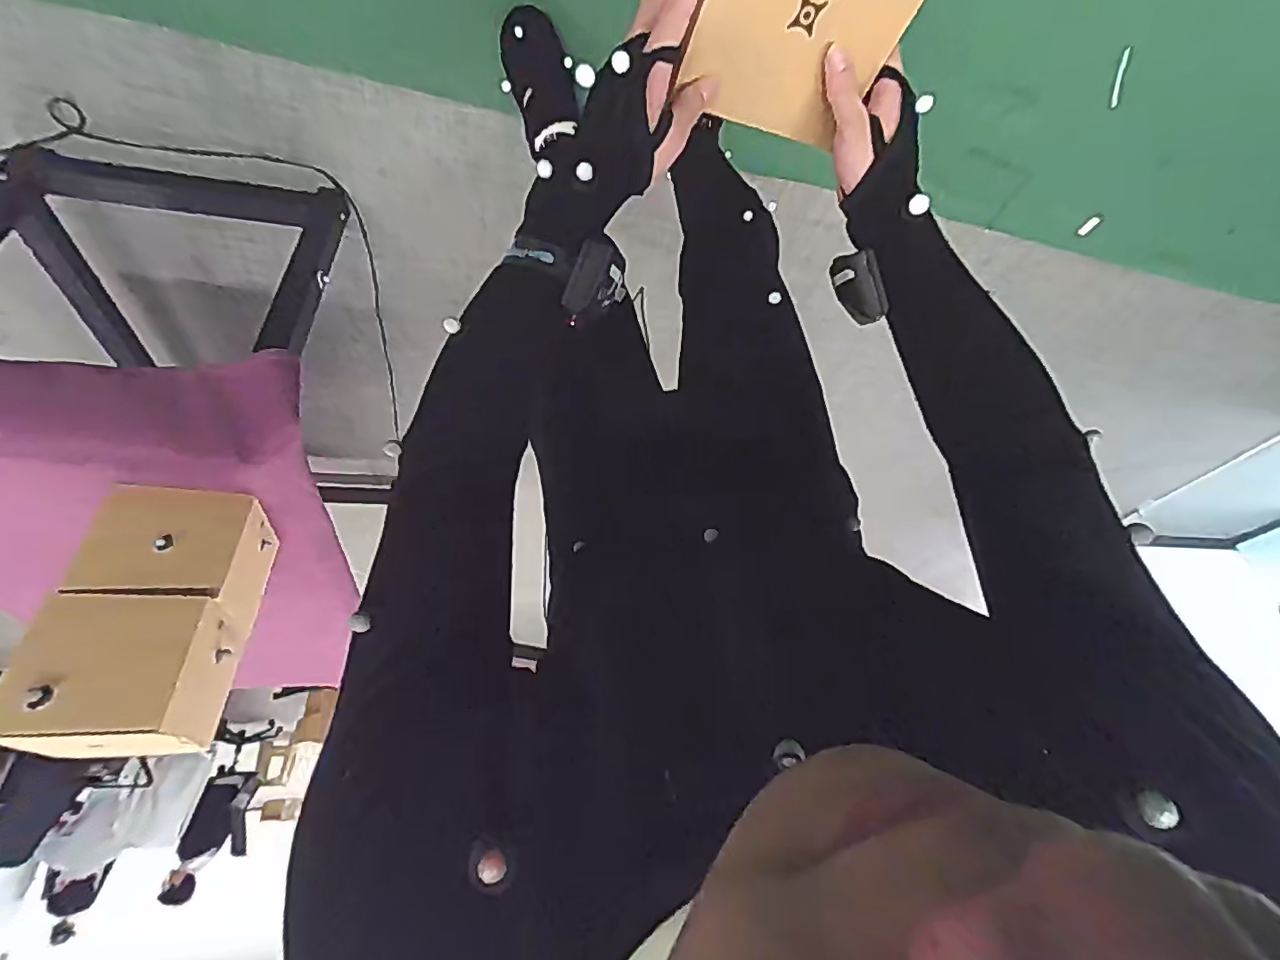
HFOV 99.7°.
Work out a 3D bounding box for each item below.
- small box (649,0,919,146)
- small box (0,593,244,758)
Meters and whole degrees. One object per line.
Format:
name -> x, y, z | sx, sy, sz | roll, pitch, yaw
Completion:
small box -> 0.114, -0.423, 0.439 | 0.168, 0.176, 0.179 | 2, 149, -21
small box -> -0.663, 0.255, 0.705 | 0.179, 0.176, 0.168 | 5, 146, -16
